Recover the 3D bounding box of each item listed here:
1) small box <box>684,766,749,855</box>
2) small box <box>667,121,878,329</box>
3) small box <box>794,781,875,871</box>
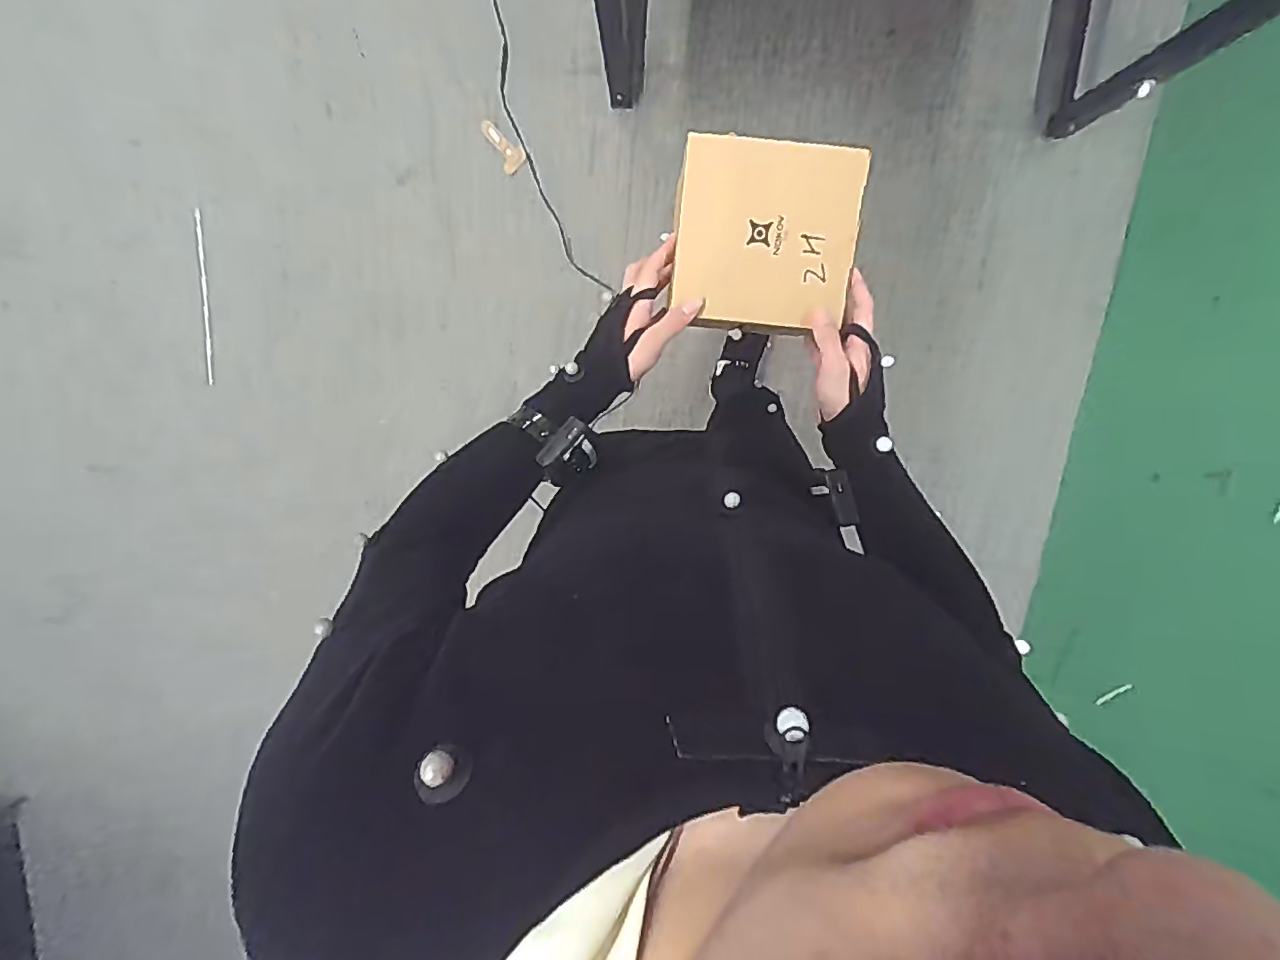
[{"bbox_3d":[0.237,1.042,1.718,0.179,0.176,0.168,7,102,0],"label":"small box"},{"bbox_3d":[0.125,-0.260,0.590,0.179,0.176,0.168,6,104,-1],"label":"small box"},{"bbox_3d":[0.611,1.090,1.717,0.179,0.176,0.168,9,101,-1],"label":"small box"}]
